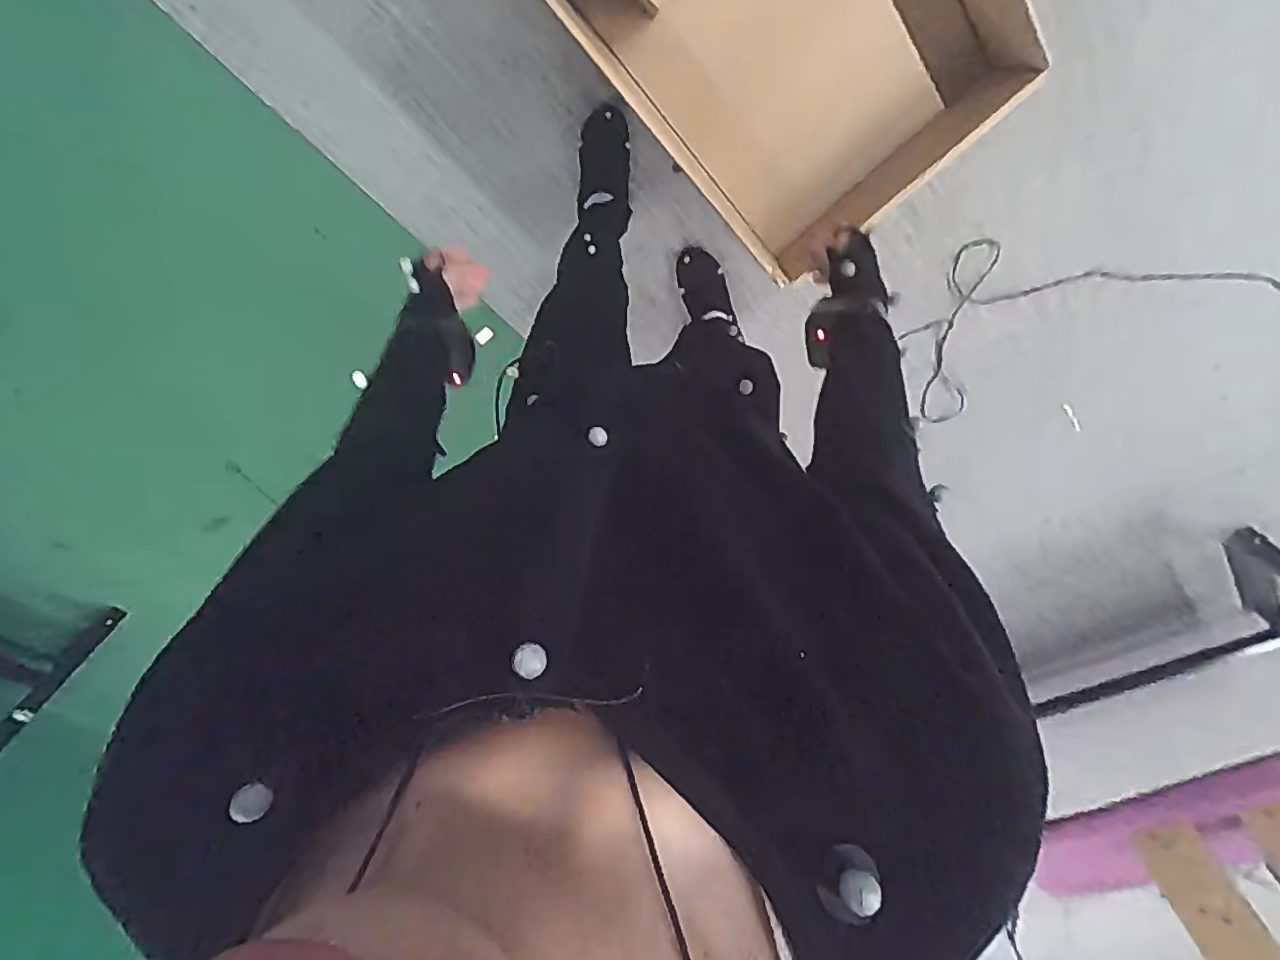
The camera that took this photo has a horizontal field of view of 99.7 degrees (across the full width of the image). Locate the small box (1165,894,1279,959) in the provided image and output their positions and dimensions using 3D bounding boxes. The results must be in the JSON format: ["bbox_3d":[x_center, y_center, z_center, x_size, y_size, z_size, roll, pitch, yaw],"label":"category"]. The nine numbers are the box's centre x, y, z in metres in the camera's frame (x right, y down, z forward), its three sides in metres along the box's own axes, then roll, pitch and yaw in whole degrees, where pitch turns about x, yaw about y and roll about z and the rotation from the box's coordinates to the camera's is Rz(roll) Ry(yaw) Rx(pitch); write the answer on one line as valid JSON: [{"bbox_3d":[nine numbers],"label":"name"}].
[{"bbox_3d":[1.568,1.234,1.444,0.168,0.176,0.179,-34,121,23],"label":"small box"}]

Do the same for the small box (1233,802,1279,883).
[{"bbox_3d":[1.774,0.991,1.463,0.168,0.176,0.179,-34,120,24],"label":"small box"}]

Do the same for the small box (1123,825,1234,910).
[{"bbox_3d":[1.562,1.131,1.569,0.168,0.176,0.179,-34,121,23],"label":"small box"}]
